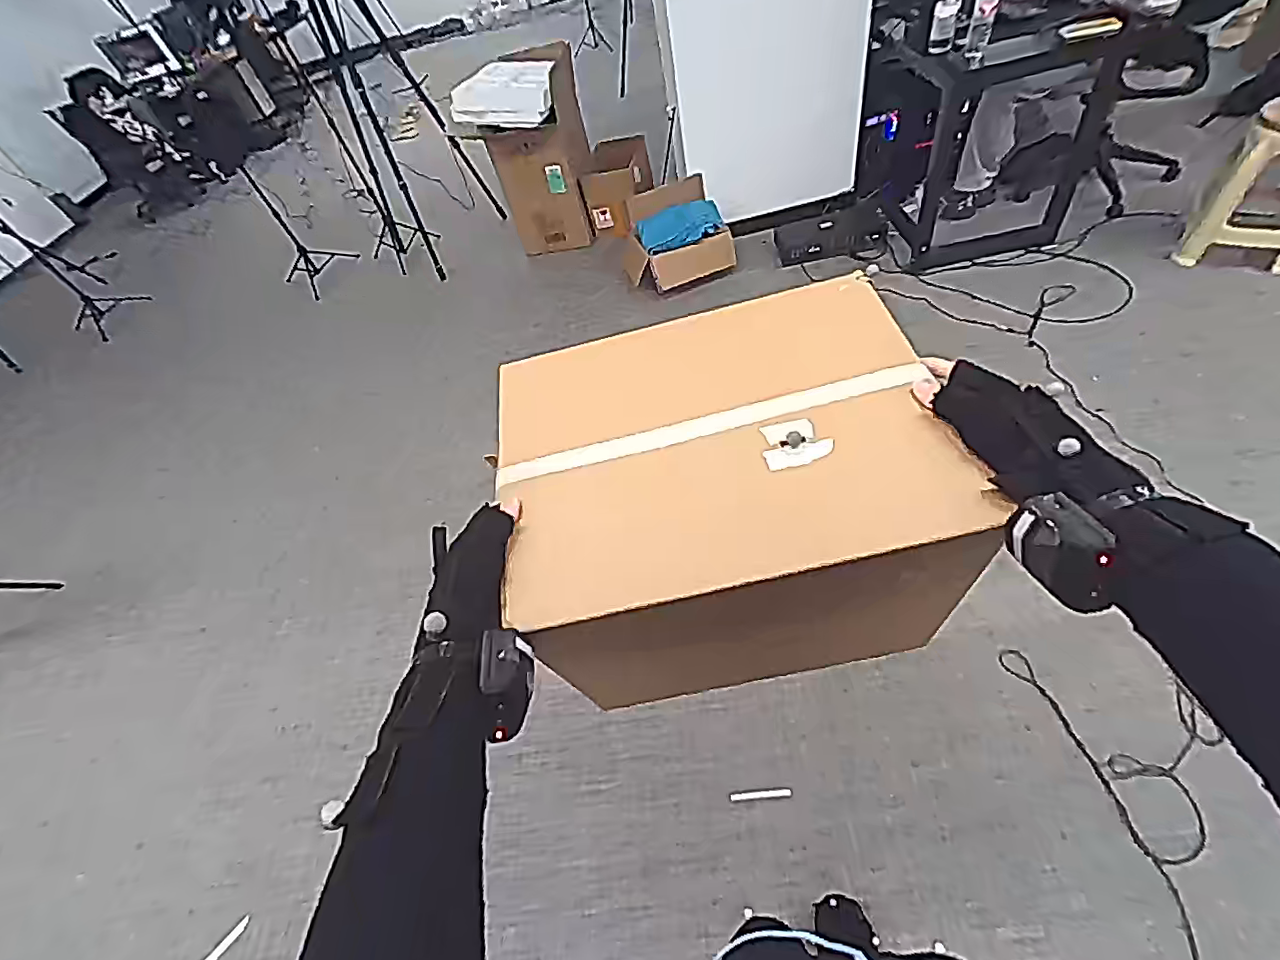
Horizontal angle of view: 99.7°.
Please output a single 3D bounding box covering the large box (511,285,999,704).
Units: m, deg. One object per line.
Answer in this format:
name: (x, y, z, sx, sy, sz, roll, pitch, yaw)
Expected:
large box: (0.094, 0.035, 0.639, 0.408, 0.320, 0.320, -14, 55, 4)
